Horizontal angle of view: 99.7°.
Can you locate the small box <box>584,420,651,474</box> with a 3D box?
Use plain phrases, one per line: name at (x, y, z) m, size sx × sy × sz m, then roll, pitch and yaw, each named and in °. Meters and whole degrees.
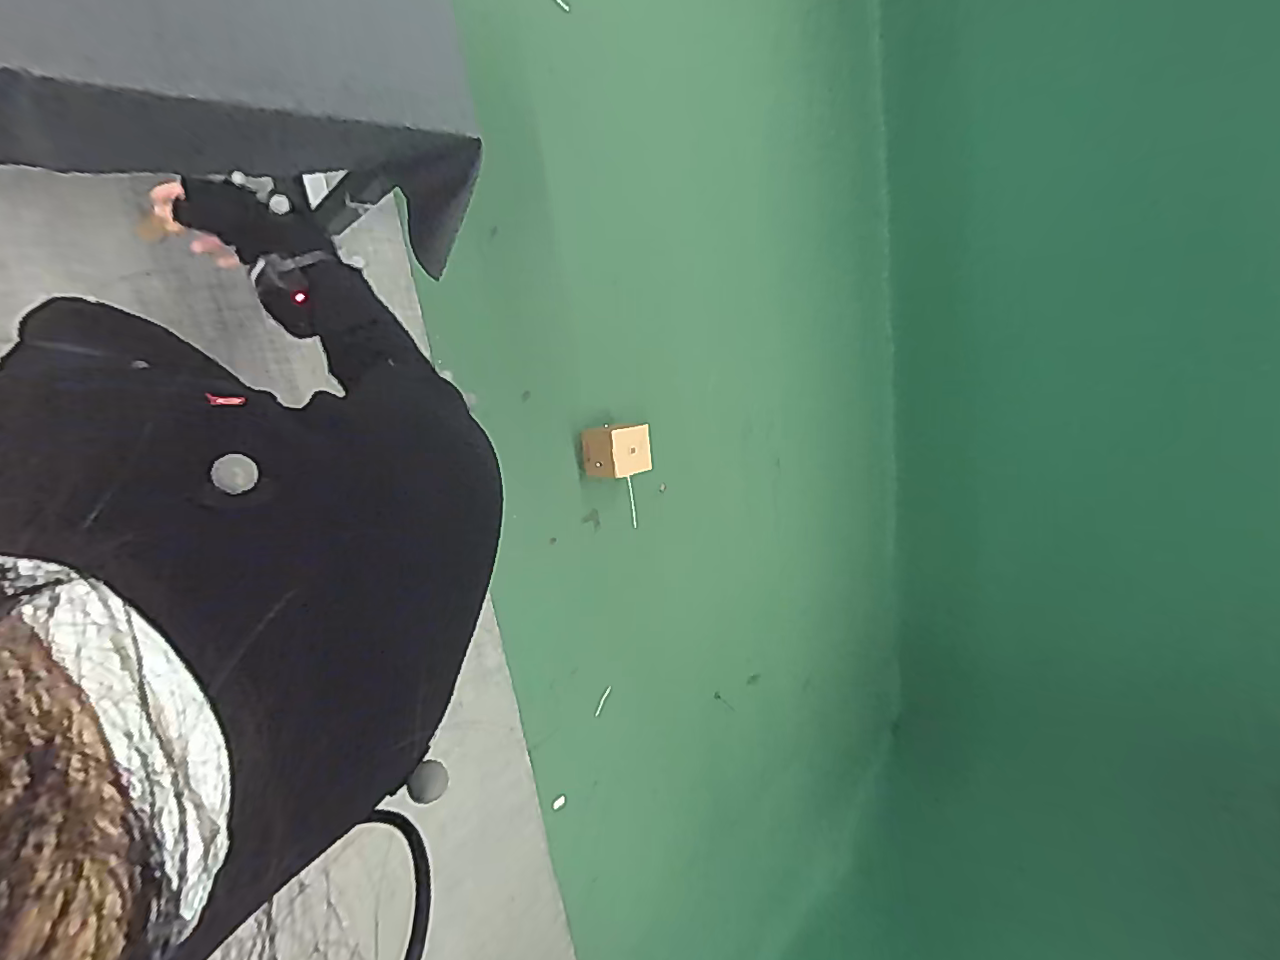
small box at (-0.084, -0.120, 1.916) m, size 0.179 × 0.176 × 0.168 m, roll -15°, pitch 105°, yaw -42°
